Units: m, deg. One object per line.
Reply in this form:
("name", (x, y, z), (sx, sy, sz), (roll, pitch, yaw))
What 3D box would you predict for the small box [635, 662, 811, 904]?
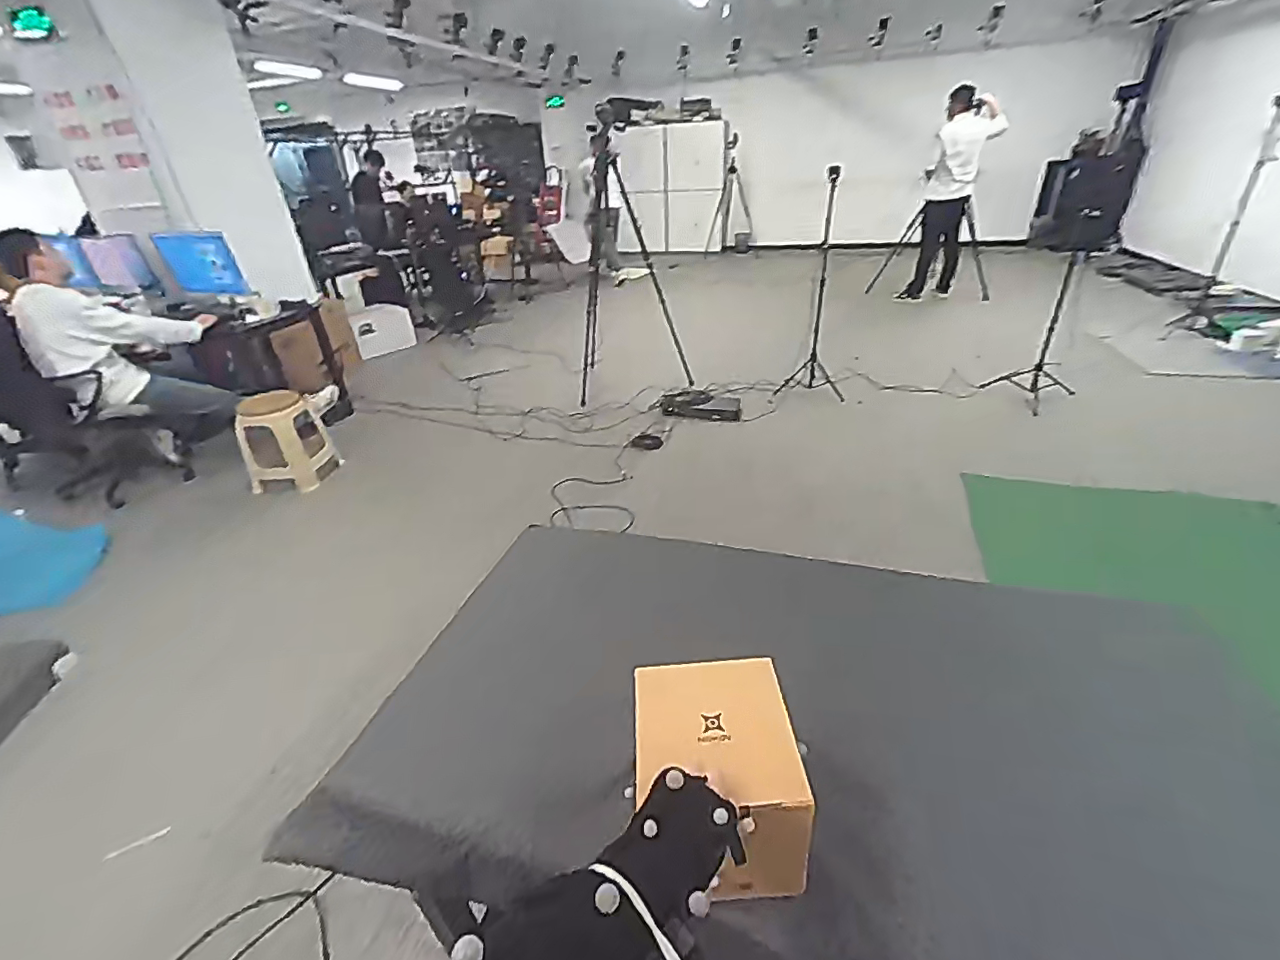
("small box", (0.081, 0.336, 0.612), (0.168, 0.176, 0.179), (-5, 30, 1))
